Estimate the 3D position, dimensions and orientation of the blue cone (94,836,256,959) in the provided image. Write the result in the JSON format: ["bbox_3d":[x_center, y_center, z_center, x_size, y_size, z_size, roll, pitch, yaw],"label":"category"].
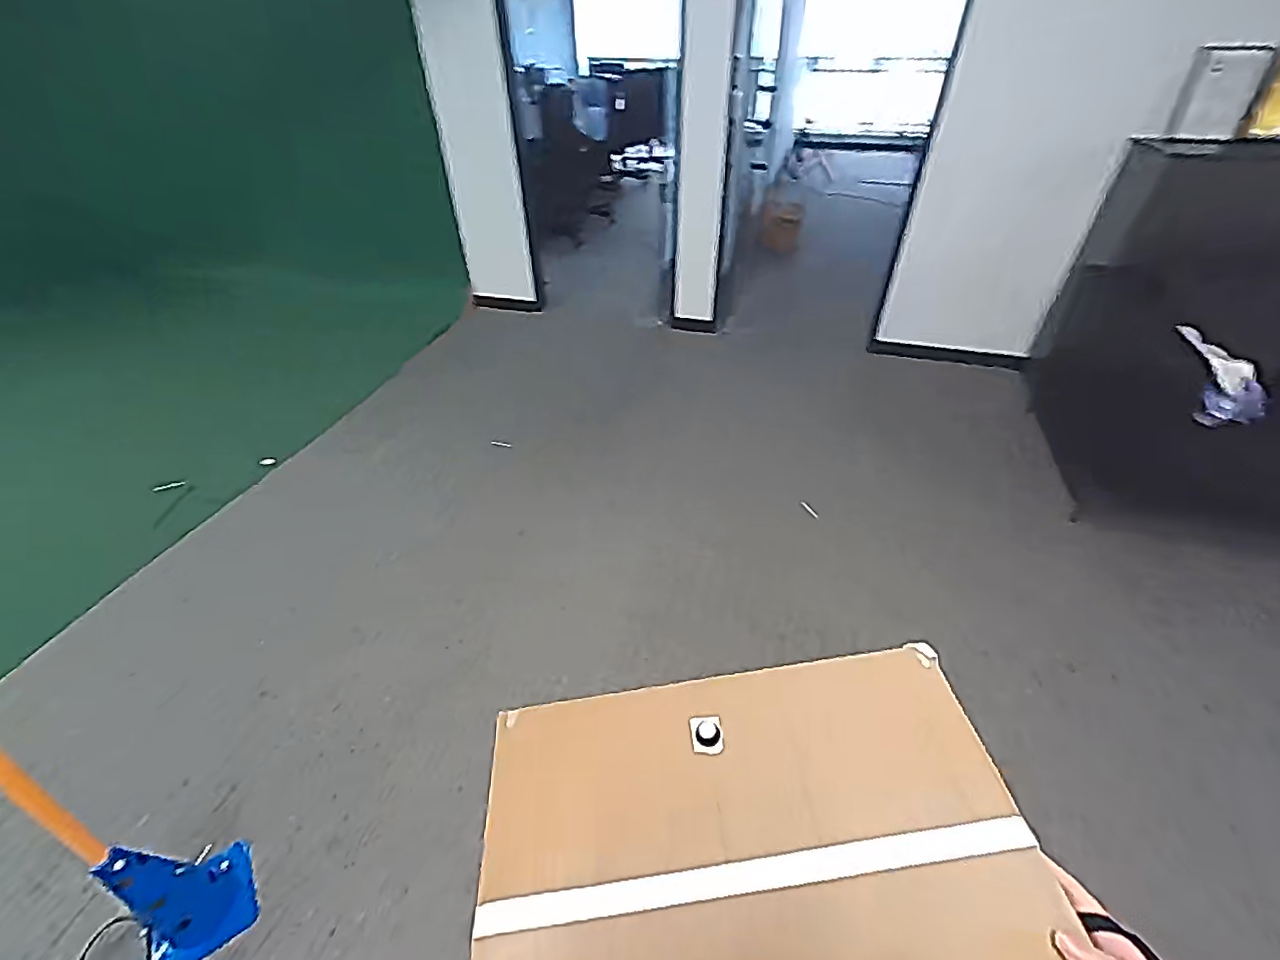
[{"bbox_3d":[-0.969,0.808,1.085,0.192,0.380,0.193,-28,46,-30],"label":"blue cone"}]
